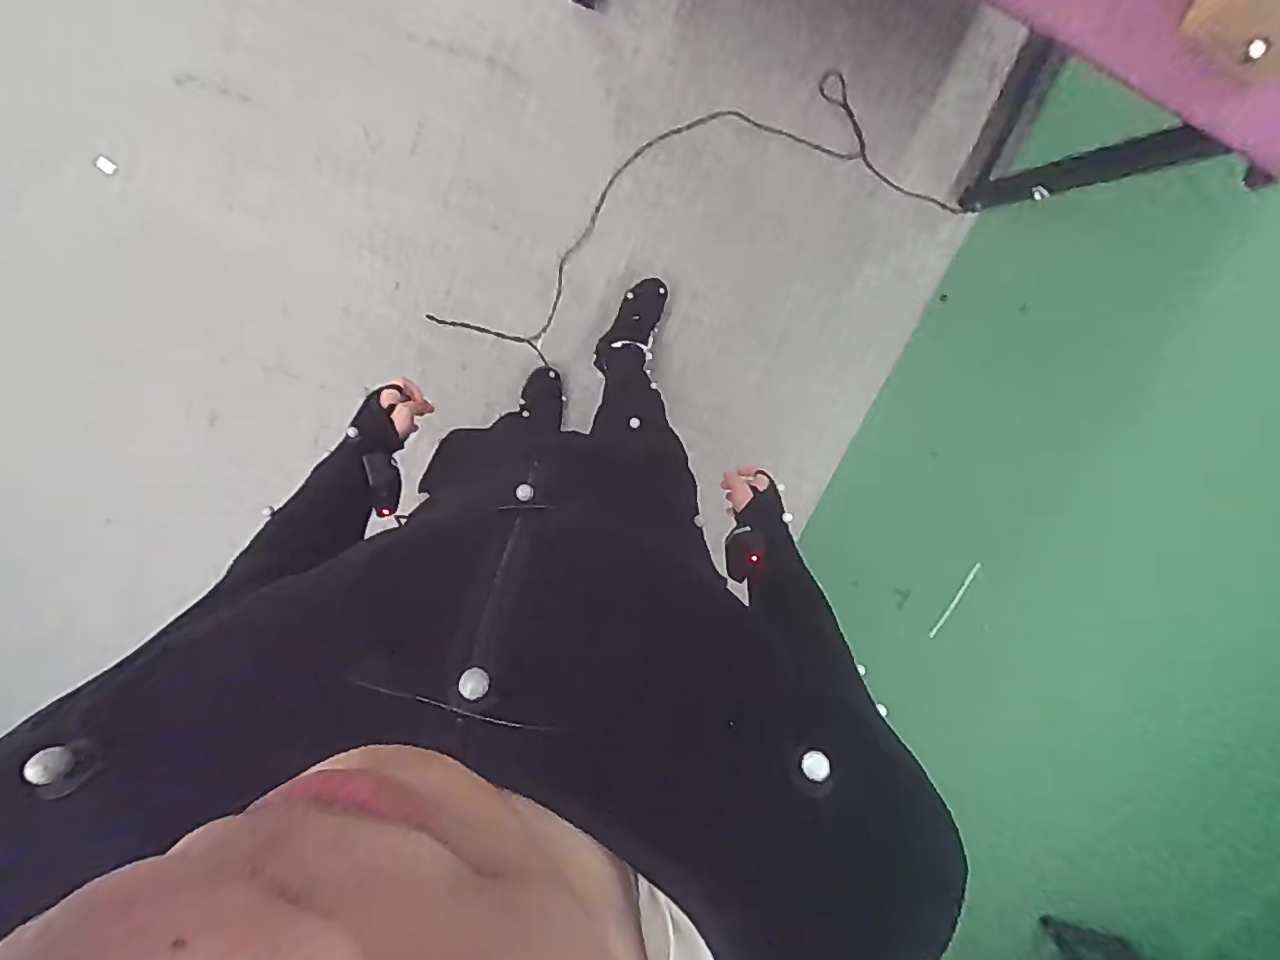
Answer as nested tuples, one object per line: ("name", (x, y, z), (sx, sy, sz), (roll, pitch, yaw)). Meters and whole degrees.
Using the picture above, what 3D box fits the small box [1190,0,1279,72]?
("small box", (0.864, -0.664, 0.668), (0.168, 0.176, 0.179), (22, 105, -11))
